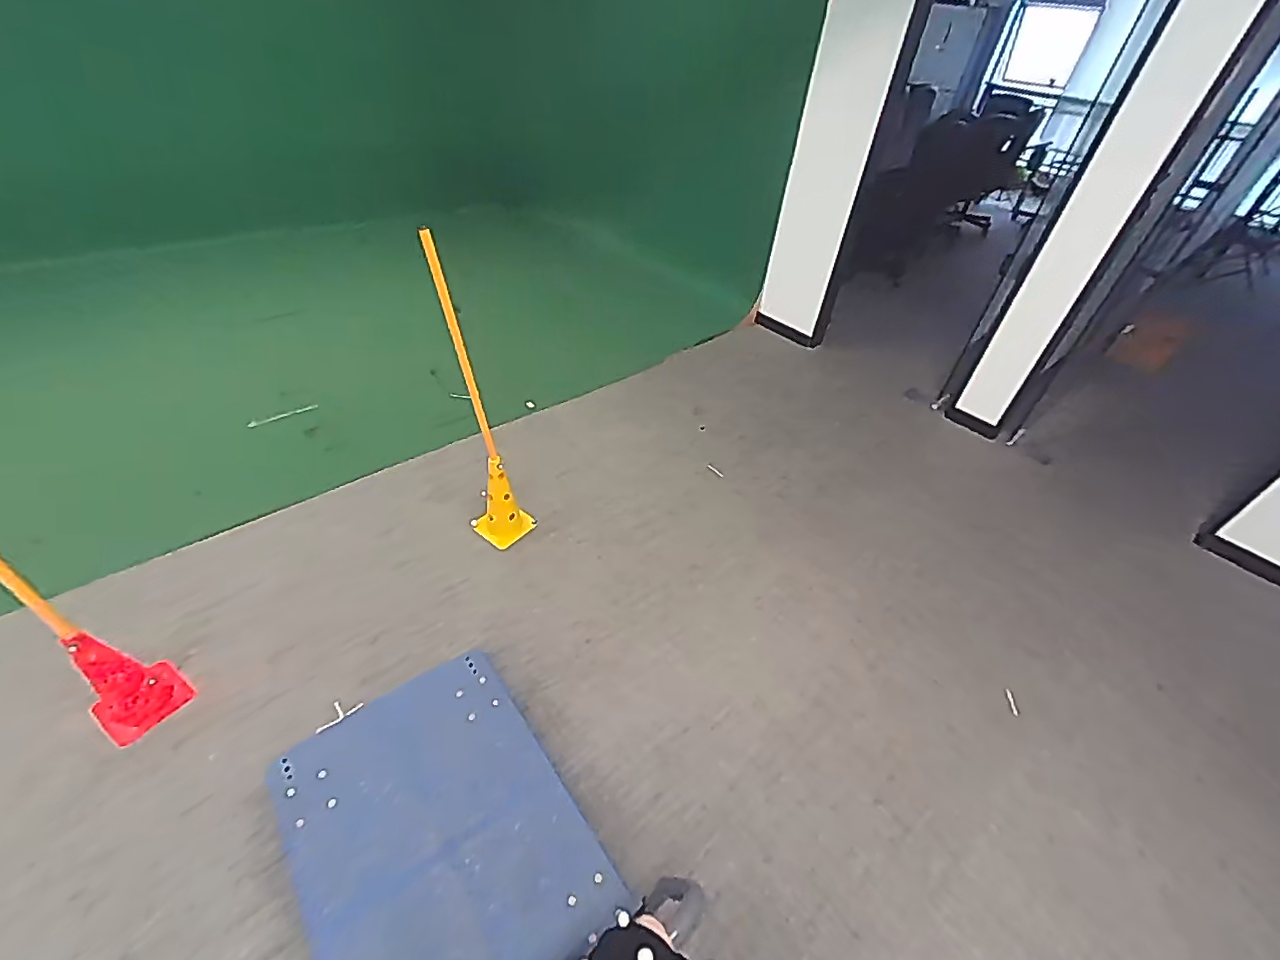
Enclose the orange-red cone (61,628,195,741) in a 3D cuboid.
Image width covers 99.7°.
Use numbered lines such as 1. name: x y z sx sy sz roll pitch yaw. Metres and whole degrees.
1. orange-red cone: -1.440 0.516 1.472 0.198 0.360 0.199 27 48 23
